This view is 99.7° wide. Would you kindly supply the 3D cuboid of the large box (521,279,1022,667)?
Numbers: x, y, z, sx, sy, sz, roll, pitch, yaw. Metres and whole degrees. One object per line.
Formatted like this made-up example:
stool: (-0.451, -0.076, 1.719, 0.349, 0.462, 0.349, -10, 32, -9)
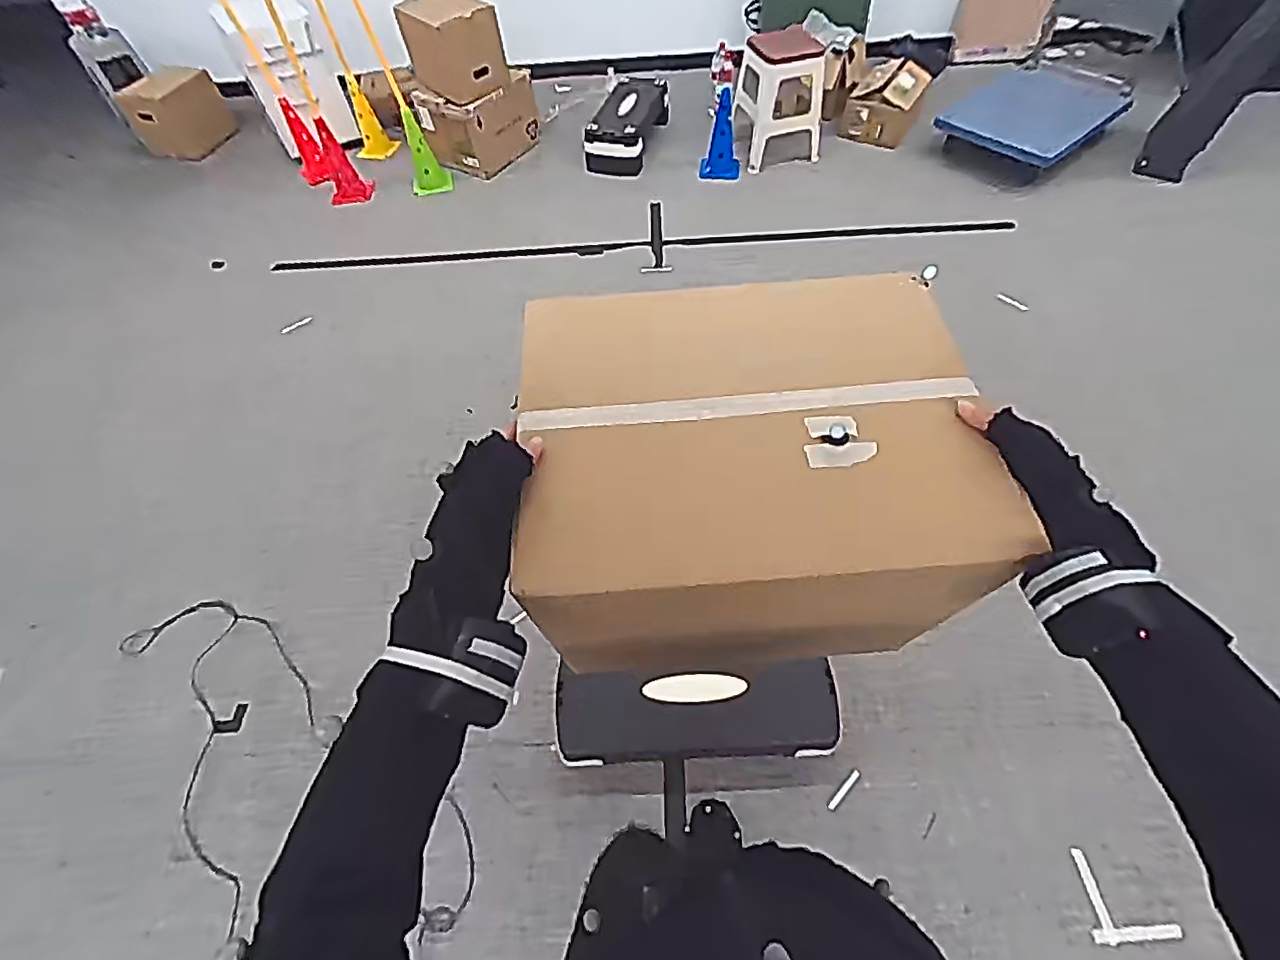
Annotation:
large box: (0.096, 0.011, 0.621, 0.408, 0.320, 0.320, -5, 61, 0)
